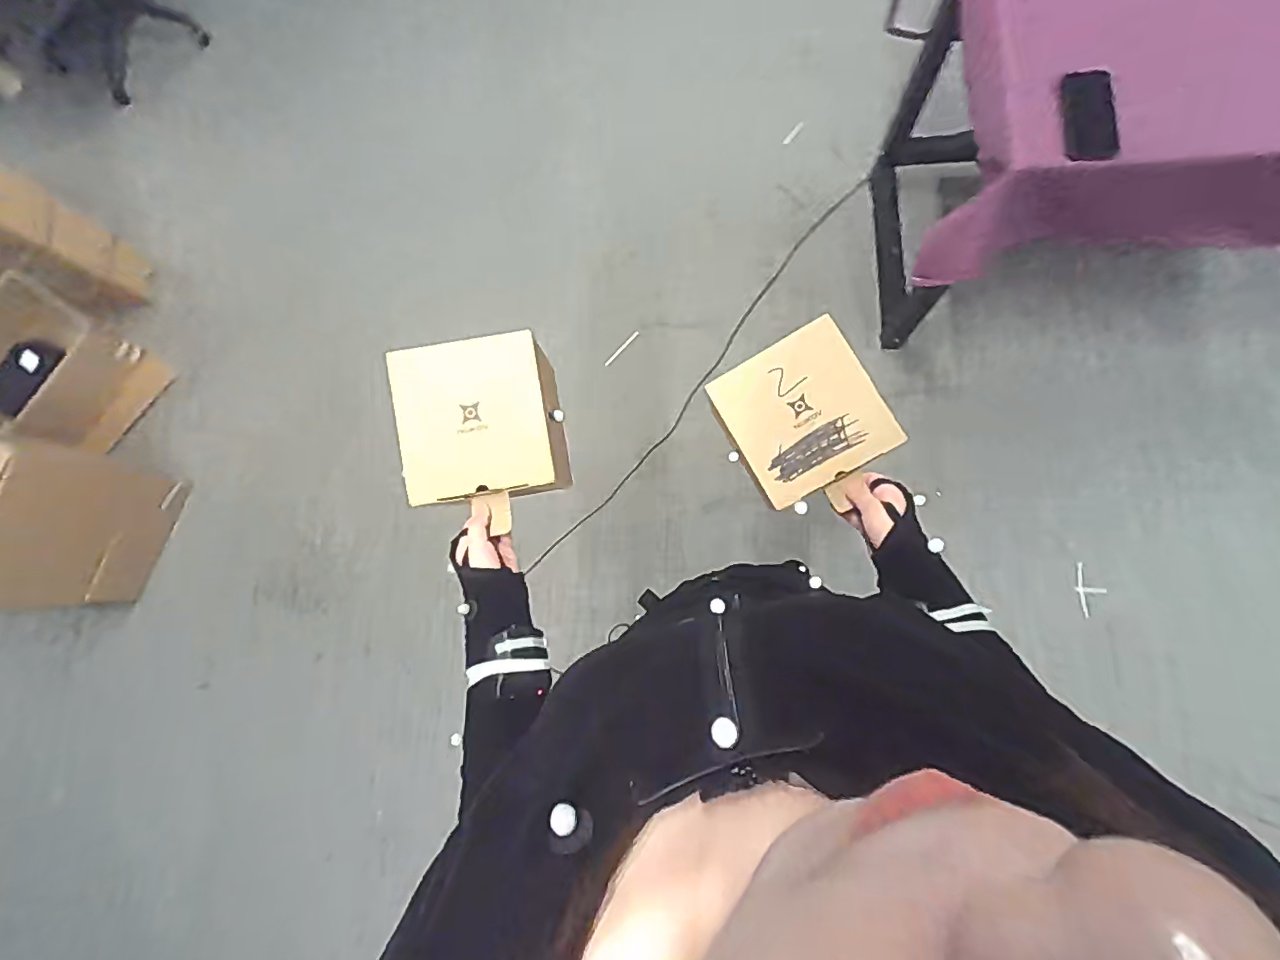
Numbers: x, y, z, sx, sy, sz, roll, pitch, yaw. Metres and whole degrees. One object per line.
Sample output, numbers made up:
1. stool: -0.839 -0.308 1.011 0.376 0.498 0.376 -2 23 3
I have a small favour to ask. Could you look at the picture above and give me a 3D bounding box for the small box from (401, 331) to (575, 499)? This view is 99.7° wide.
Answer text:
1. small box: -0.181 -0.071 0.688 0.168 0.176 0.179 -8 89 -1
